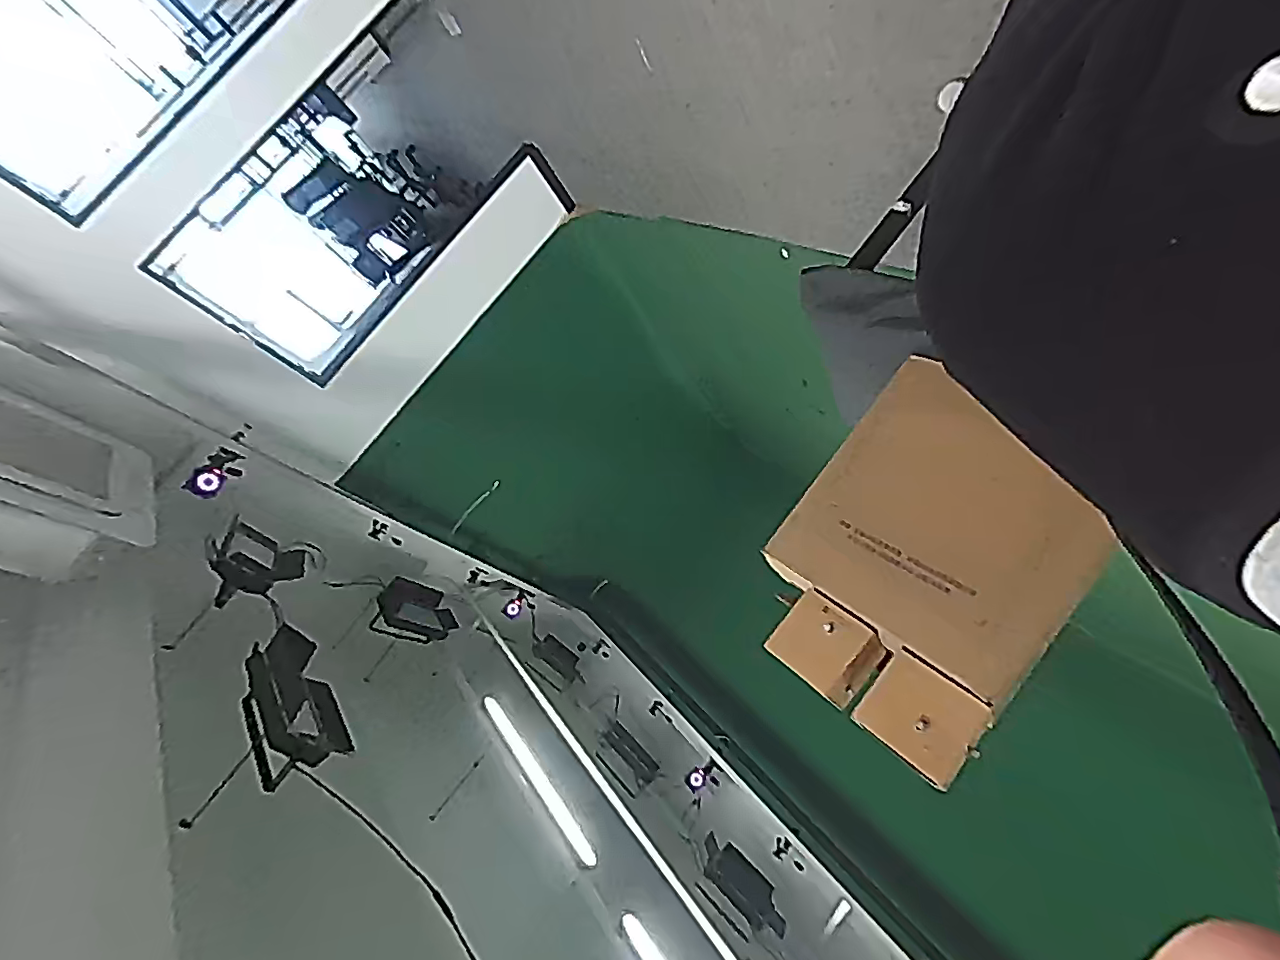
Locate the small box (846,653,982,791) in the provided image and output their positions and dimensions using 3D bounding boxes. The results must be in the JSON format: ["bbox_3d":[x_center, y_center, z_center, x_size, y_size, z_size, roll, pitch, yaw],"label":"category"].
[{"bbox_3d":[0.539,0.471,1.058,0.179,0.176,0.168,33,171,41],"label":"small box"}]

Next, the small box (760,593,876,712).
[{"bbox_3d":[0.405,0.385,1.211,0.168,0.176,0.179,35,172,41],"label":"small box"}]
